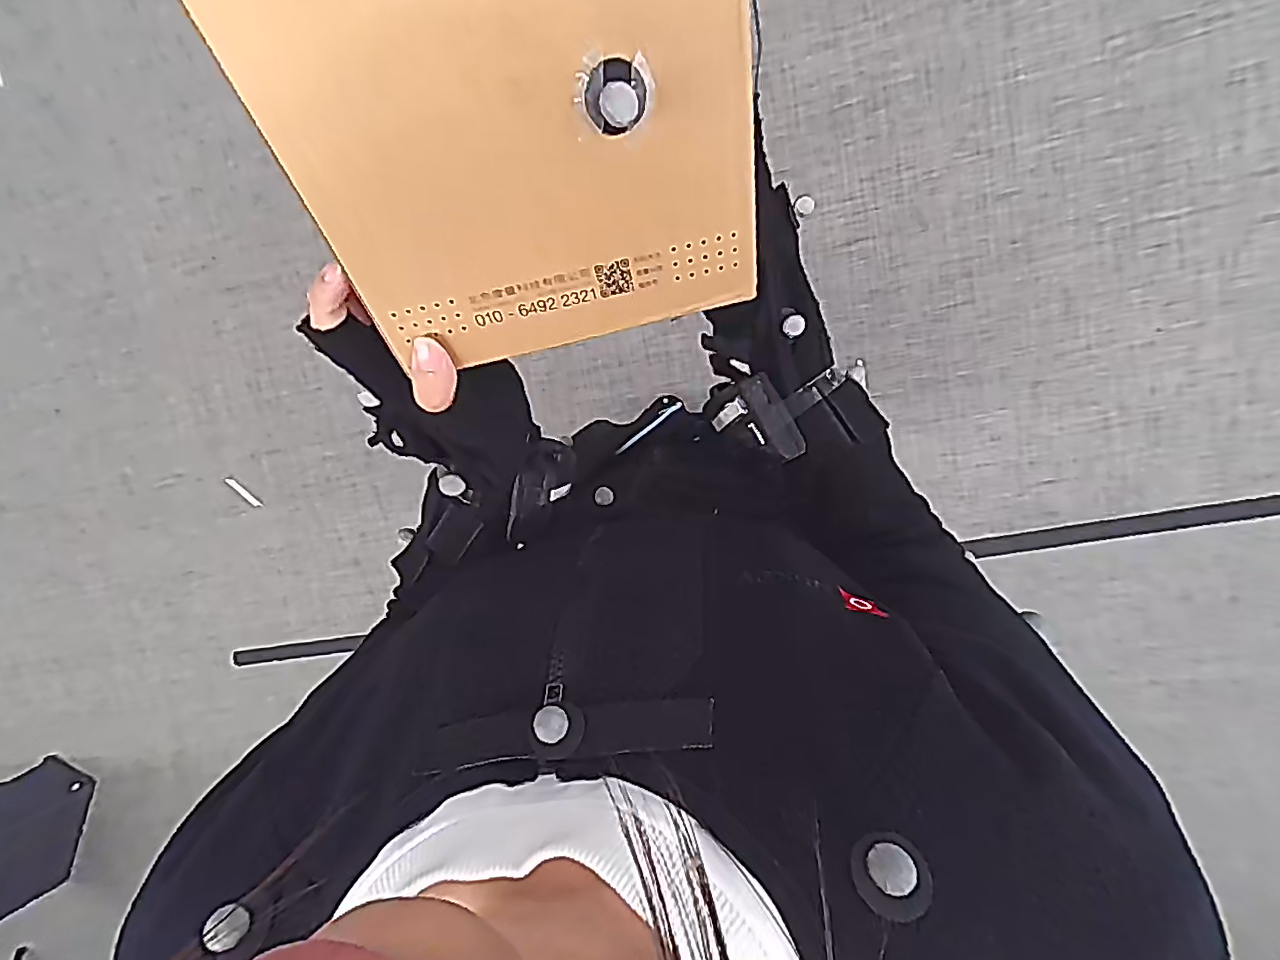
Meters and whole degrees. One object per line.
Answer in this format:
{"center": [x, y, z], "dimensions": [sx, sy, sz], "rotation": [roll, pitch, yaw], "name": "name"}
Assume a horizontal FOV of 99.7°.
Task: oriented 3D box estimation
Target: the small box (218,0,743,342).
{"center": [-0.050, -0.185, 0.267], "dimensions": [0.168, 0.179, 0.176], "rotation": [-12, 137, 3], "name": "small box"}
